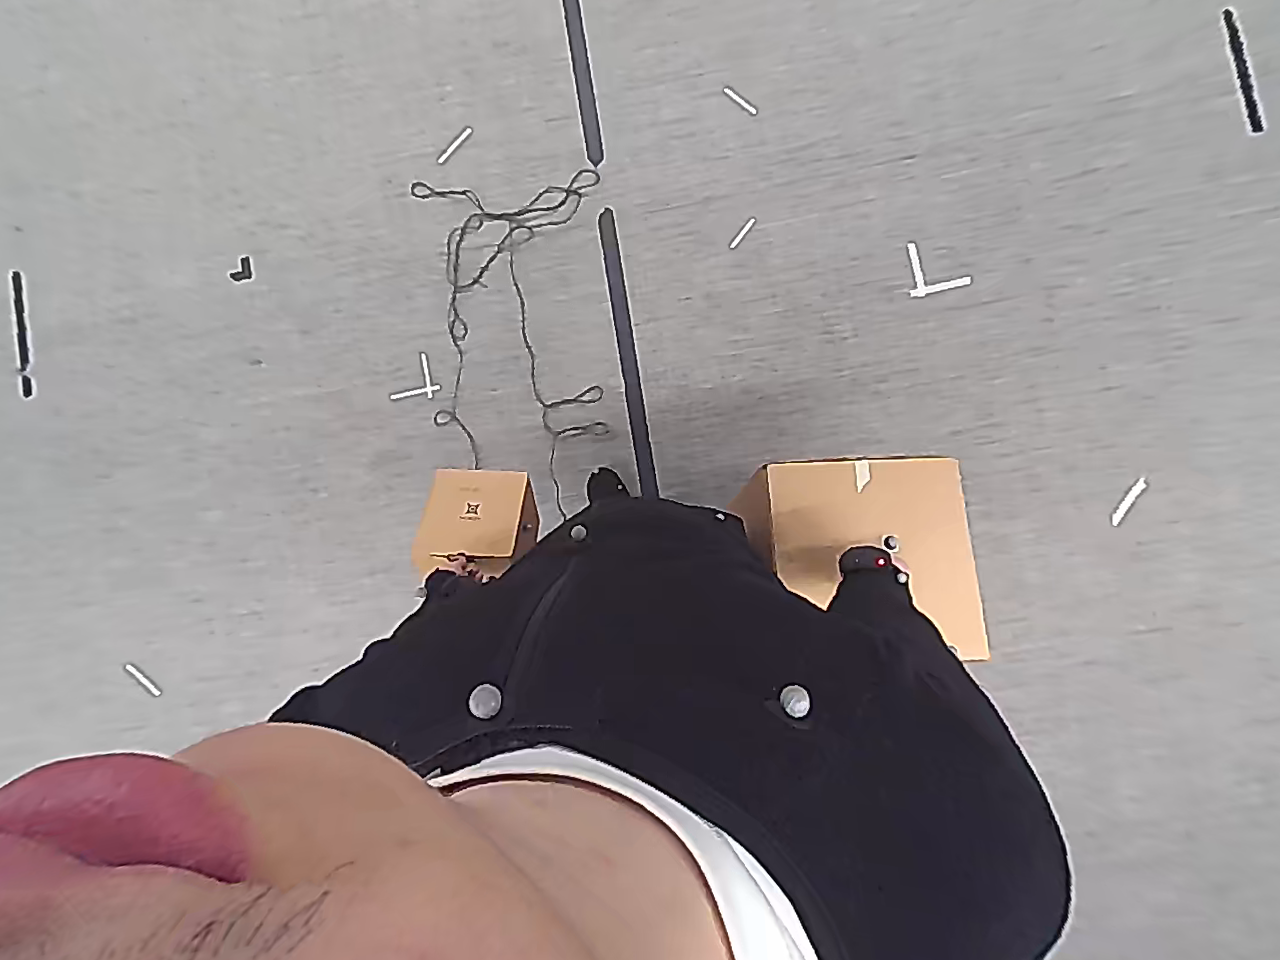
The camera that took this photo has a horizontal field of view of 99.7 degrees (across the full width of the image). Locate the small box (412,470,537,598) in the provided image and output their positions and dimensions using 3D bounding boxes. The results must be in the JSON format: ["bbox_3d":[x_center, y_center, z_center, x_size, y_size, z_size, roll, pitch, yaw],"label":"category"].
[{"bbox_3d":[-0.287,0.102,0.984,0.168,0.176,0.179,3,54,-1],"label":"small box"}]
